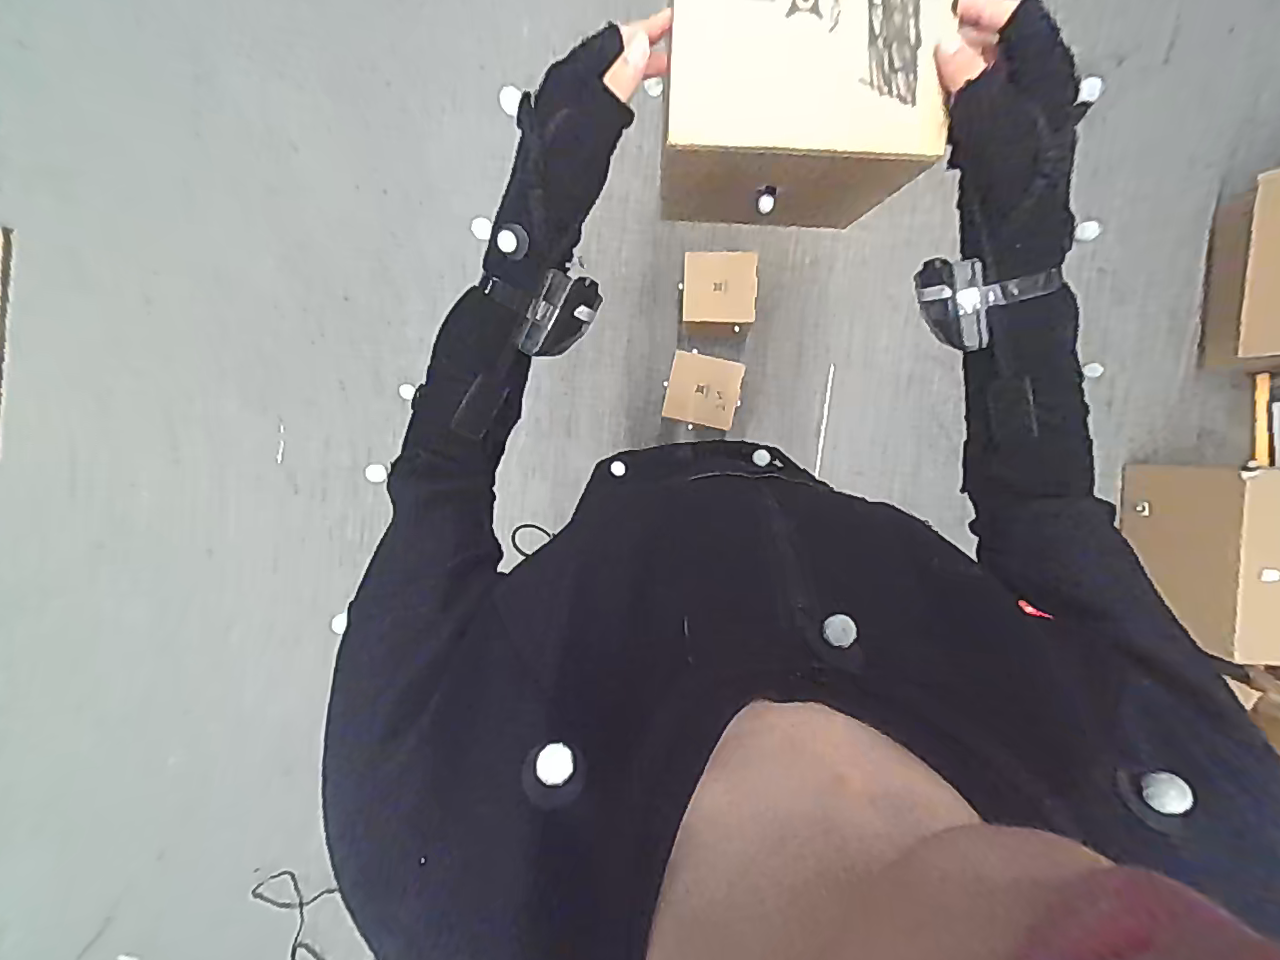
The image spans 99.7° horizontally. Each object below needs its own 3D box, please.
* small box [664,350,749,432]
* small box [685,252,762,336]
[{"bbox_3d":[0.166,-0.220,1.378,0.179,0.176,0.168,13,94,4],"label":"small box"},{"bbox_3d":[0.205,-0.462,1.364,0.179,0.176,0.168,2,93,4],"label":"small box"}]
